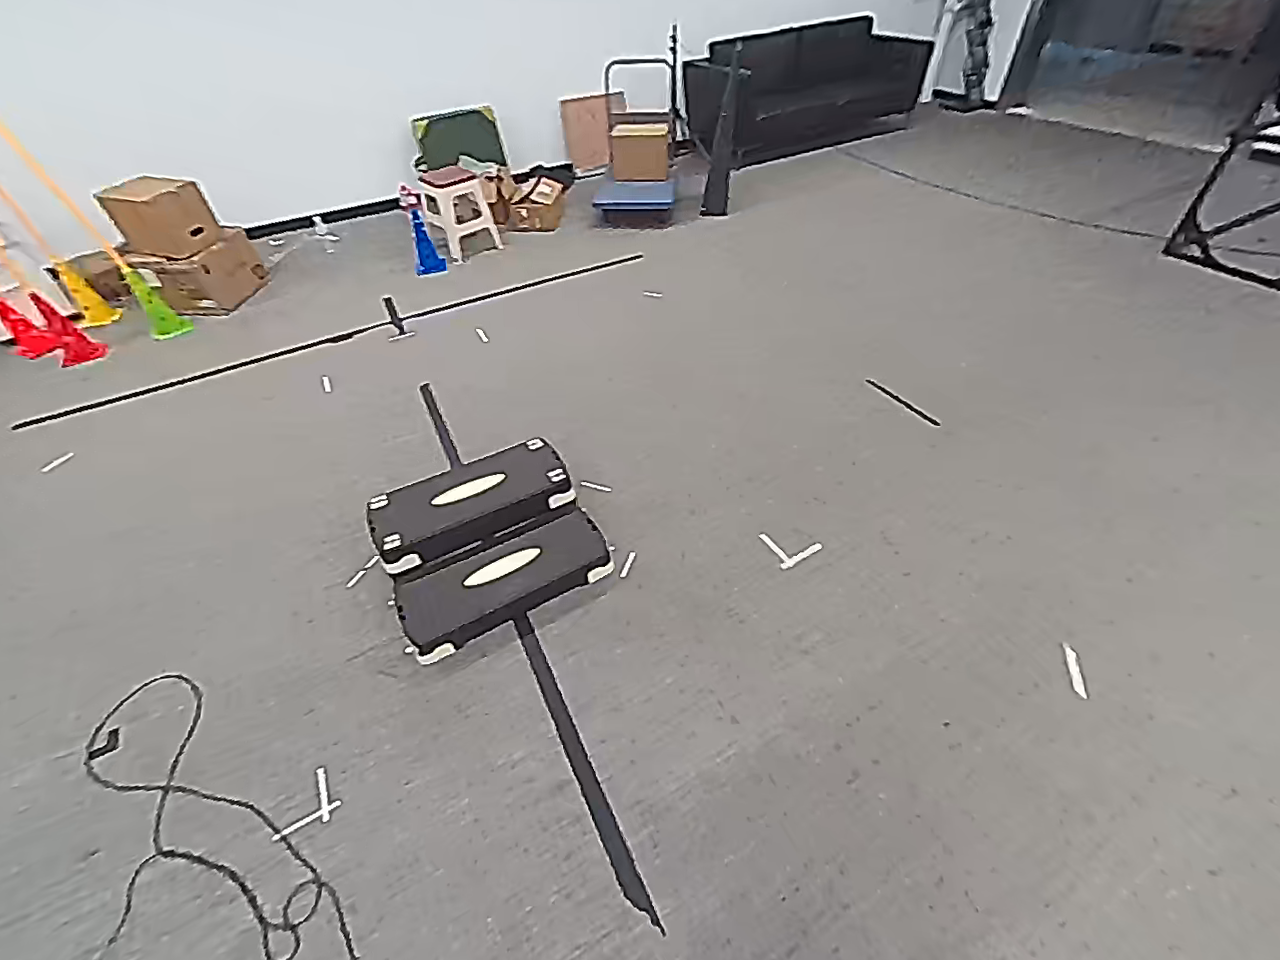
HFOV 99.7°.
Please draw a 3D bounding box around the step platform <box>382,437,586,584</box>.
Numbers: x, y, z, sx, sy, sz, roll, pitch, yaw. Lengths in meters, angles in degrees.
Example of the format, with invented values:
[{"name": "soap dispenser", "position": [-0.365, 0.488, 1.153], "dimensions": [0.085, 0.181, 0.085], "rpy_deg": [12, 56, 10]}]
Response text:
[{"name": "step platform", "position": [-0.545, 0.089, 1.925], "dimensions": [0.684, 0.204, 0.286], "rpy_deg": [-23, 48, -20]}]
